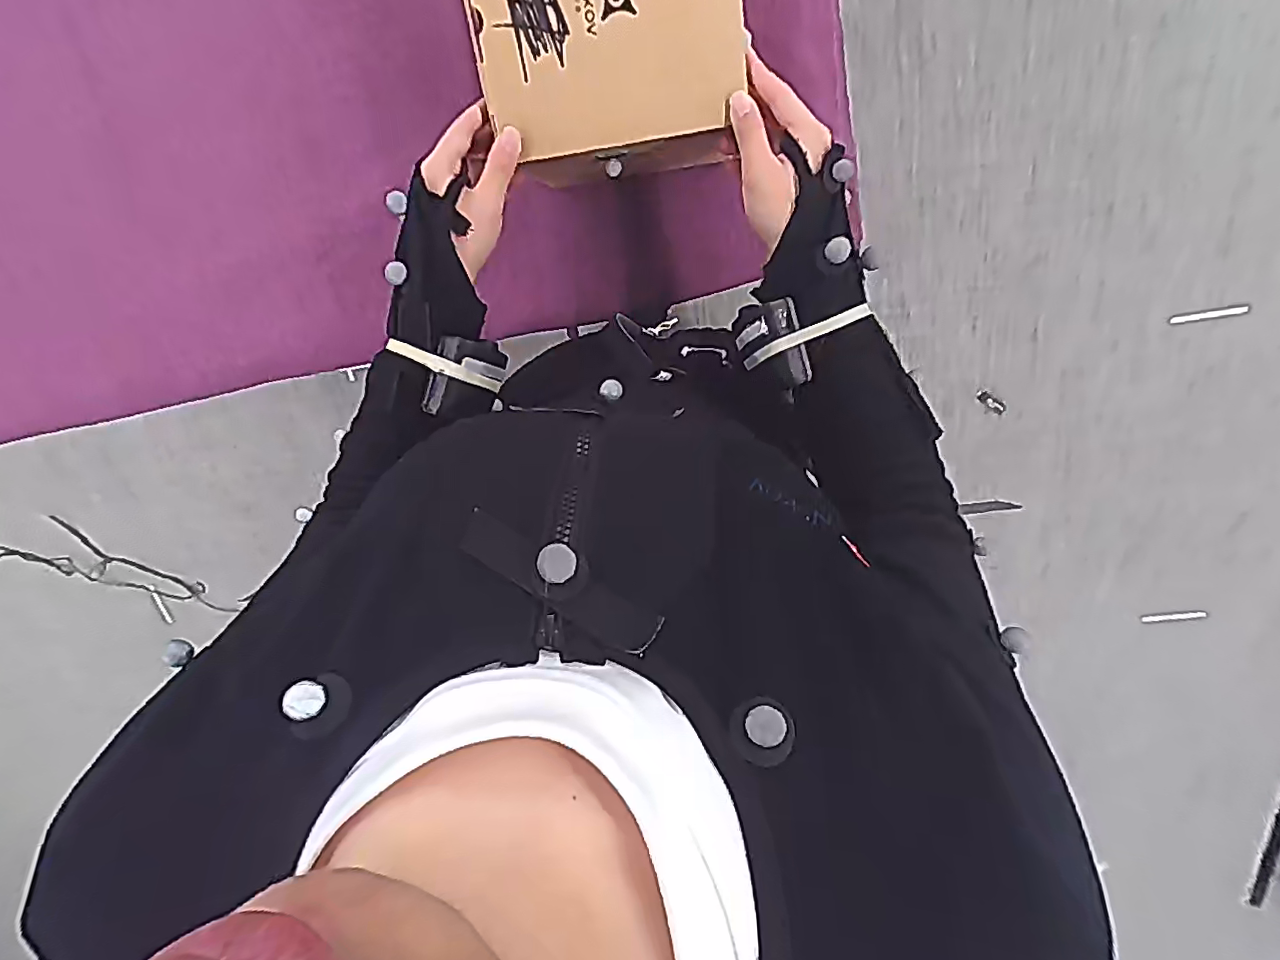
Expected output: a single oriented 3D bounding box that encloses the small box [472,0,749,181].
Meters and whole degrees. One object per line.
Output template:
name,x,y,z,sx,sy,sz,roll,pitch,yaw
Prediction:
small box,-0.016,-0.338,0.411,0.179,0.176,0.168,-5,113,6
